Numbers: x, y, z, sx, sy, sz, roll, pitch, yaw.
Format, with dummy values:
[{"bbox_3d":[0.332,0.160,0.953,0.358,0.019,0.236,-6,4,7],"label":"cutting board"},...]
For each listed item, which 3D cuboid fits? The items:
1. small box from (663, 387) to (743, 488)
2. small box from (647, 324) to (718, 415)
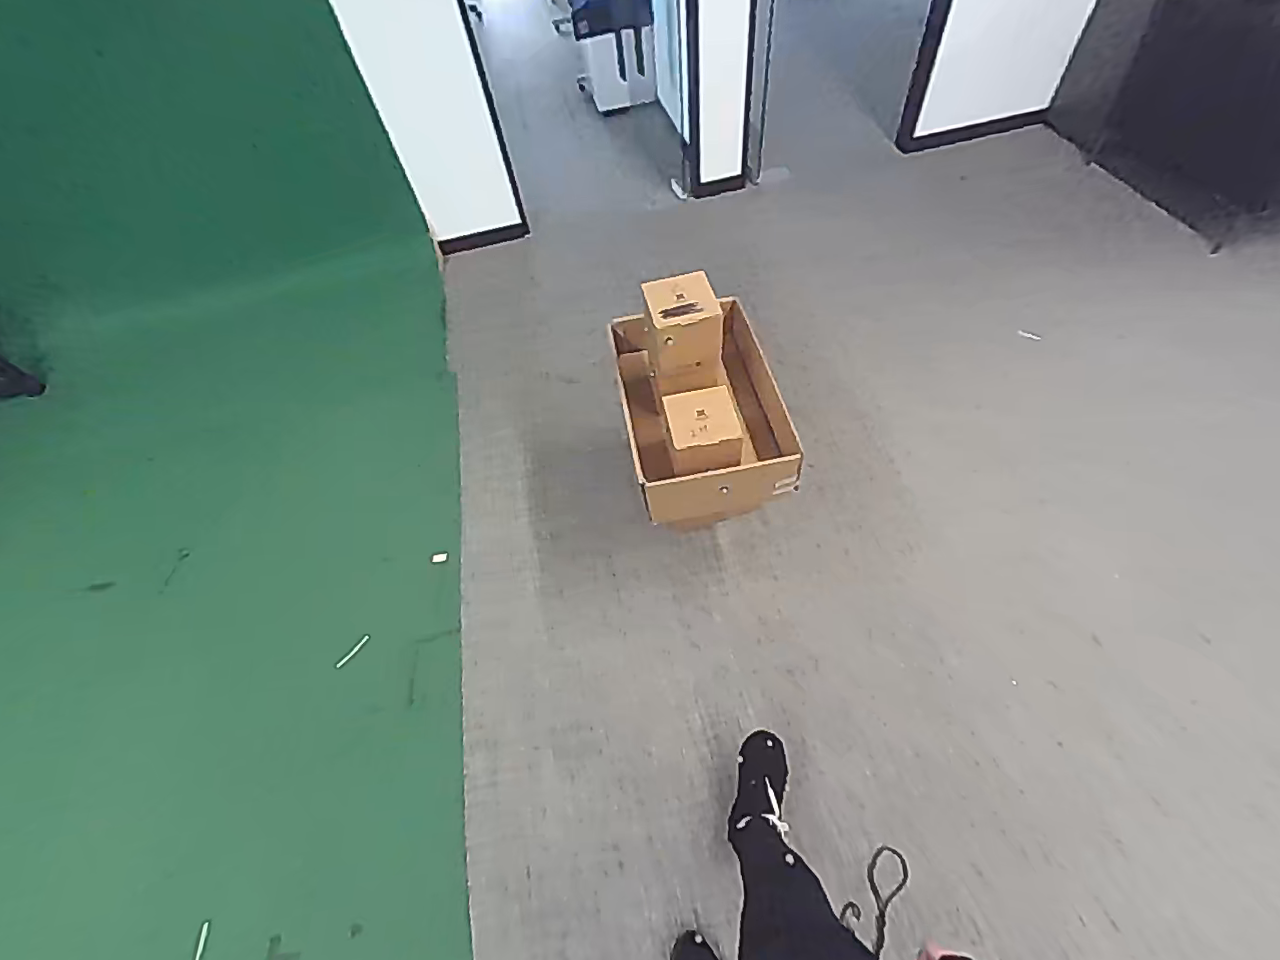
[{"bbox_3d":[0.157,-0.106,1.376,0.168,0.176,0.179,-11,54,0],"label":"small box"},{"bbox_3d":[0.118,-0.306,1.528,0.168,0.176,0.179,-12,57,-1],"label":"small box"}]
